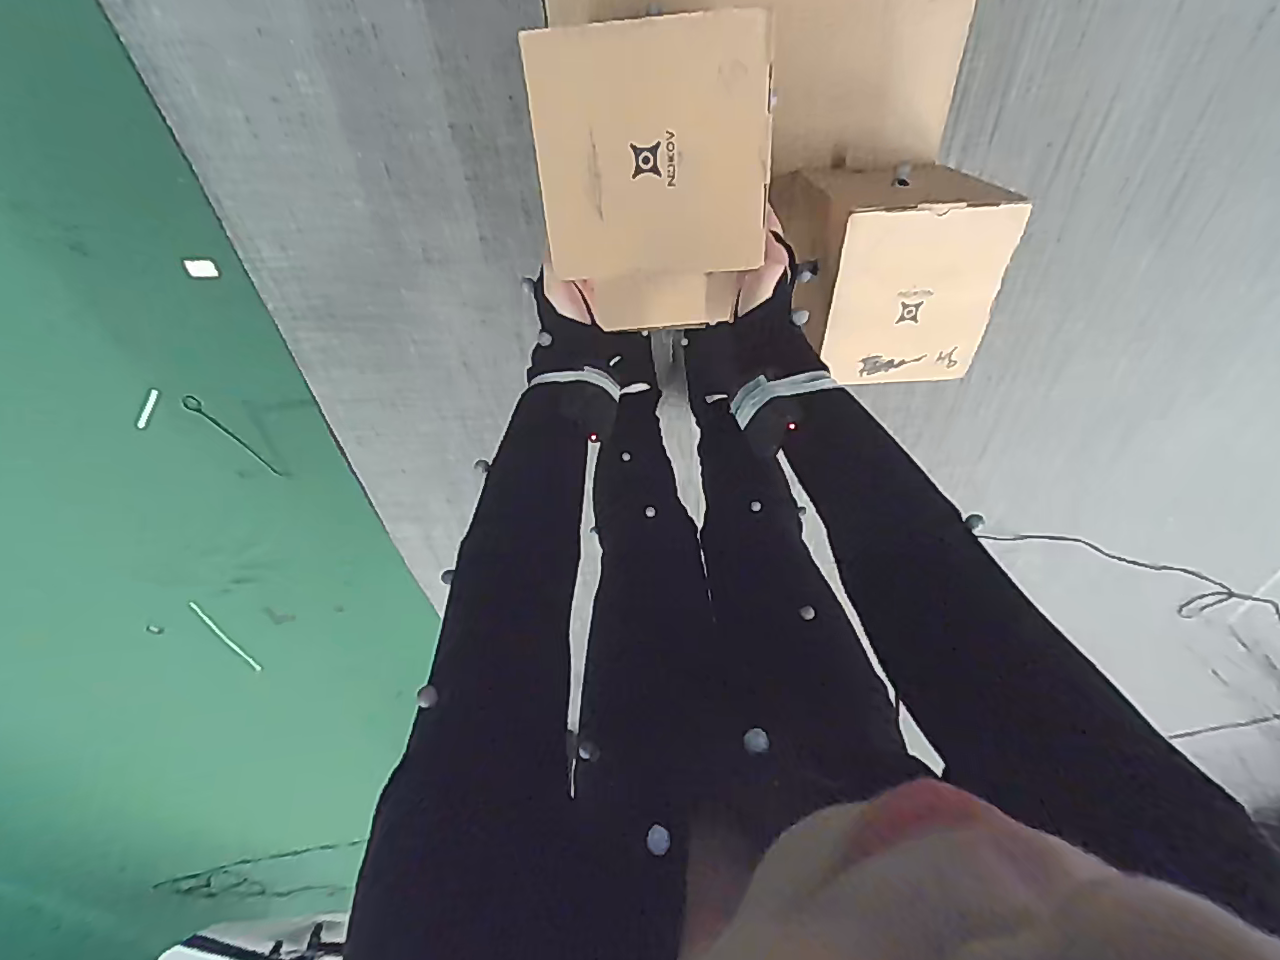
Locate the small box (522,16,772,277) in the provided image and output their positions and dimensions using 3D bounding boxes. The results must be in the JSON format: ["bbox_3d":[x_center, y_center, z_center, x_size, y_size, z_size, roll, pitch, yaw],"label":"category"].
[{"bbox_3d":[0.012,-0.283,0.477,0.179,0.176,0.168,0,121,6],"label":"small box"}]

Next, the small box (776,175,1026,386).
[{"bbox_3d":[0.255,-0.221,0.584,0.168,0.176,0.179,-3,129,-2],"label":"small box"}]
